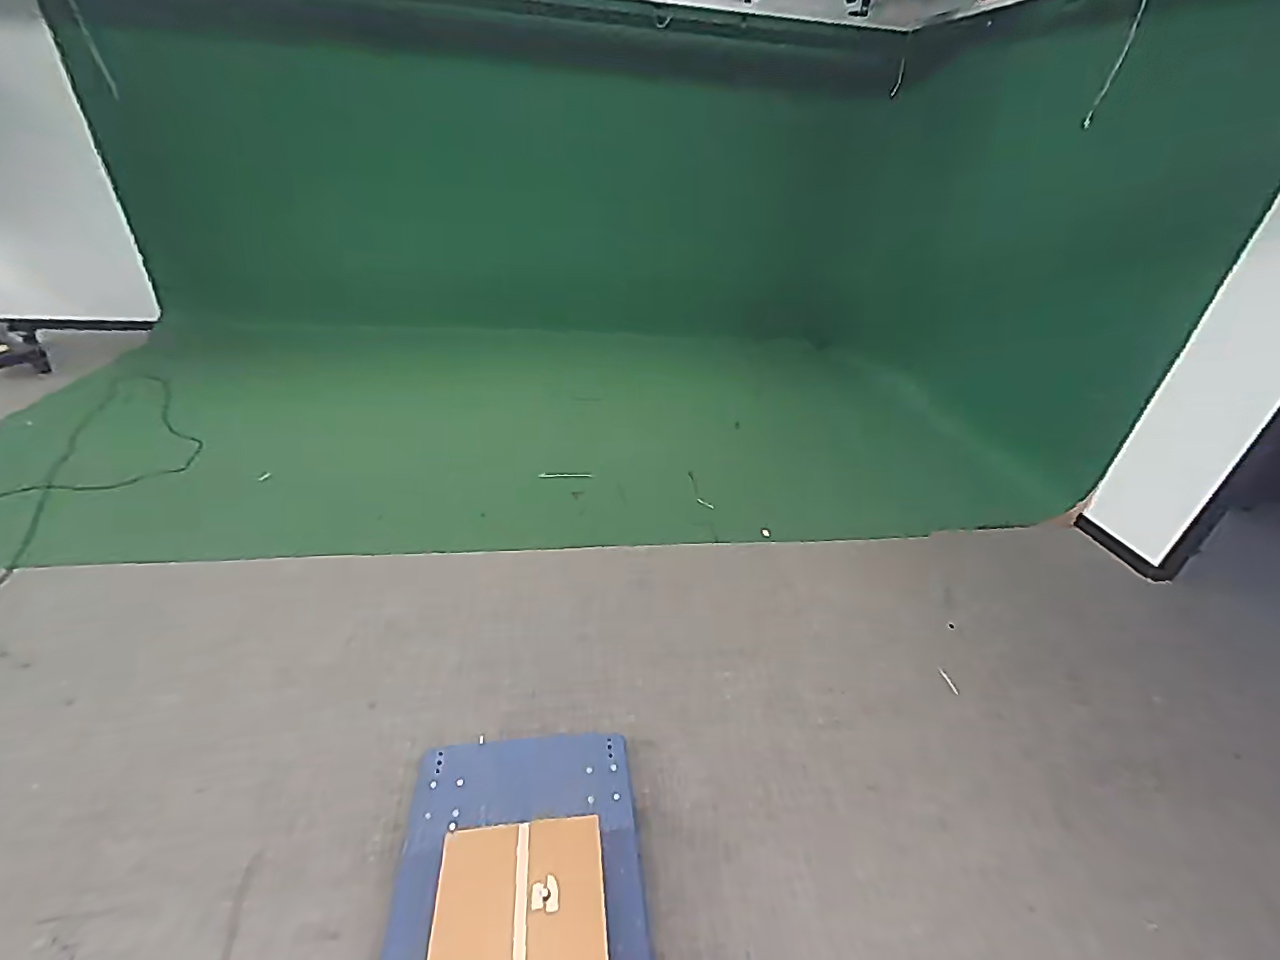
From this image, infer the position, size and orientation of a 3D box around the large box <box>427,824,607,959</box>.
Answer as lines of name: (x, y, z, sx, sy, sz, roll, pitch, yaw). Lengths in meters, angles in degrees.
large box: (-0.225, 0.961, 1.028, 0.320, 0.320, 0.408, 0, 31, -10)
